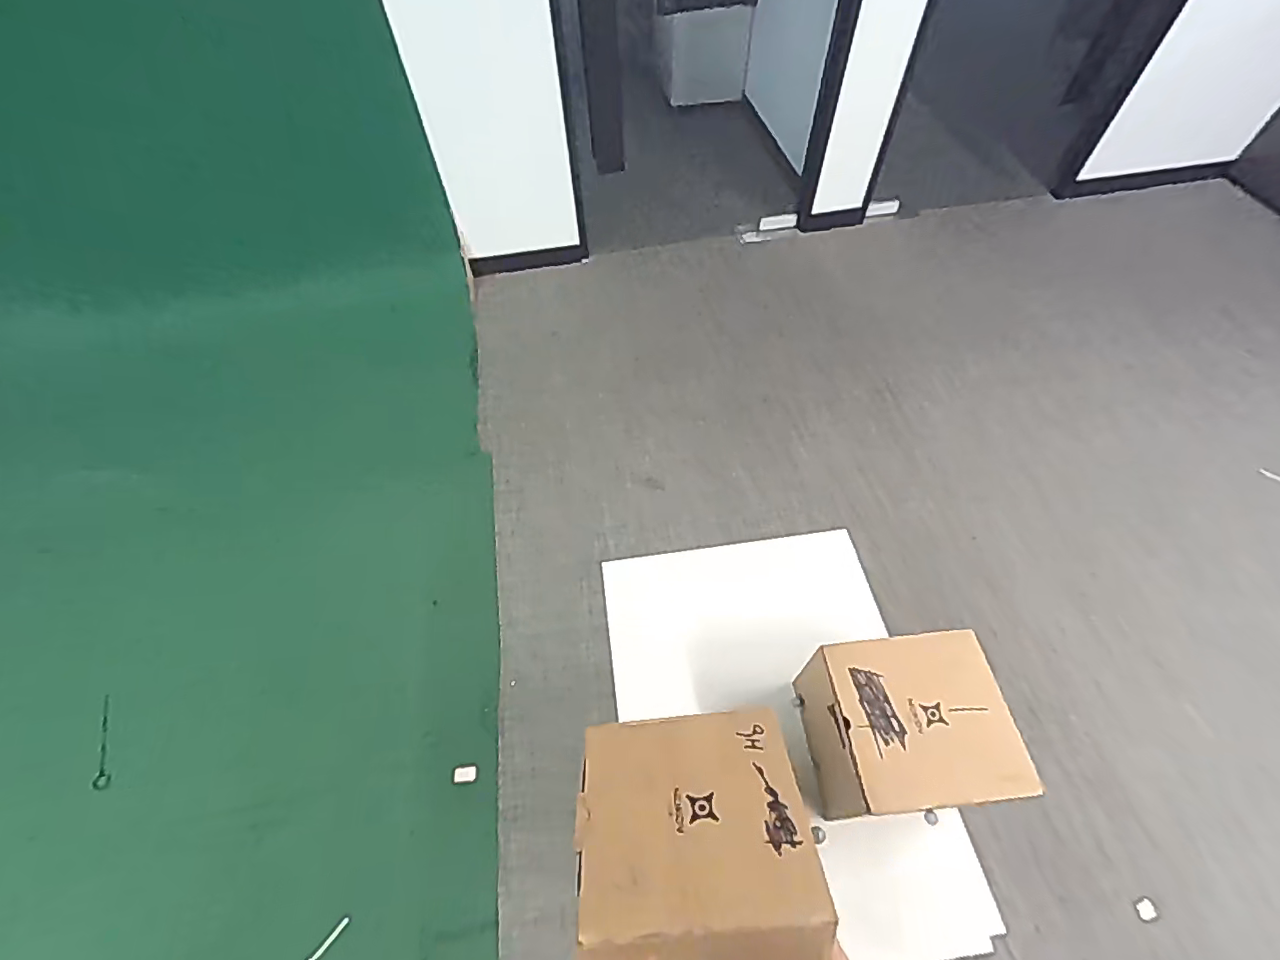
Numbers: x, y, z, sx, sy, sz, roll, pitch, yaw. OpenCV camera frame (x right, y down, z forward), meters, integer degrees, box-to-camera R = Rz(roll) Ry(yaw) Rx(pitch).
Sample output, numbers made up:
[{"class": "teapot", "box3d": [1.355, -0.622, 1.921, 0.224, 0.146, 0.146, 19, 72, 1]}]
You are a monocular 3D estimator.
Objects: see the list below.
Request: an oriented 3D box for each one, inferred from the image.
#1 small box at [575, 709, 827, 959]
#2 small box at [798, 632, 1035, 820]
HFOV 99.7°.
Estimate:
[{"class": "small box", "box3d": [0.046, 0.331, 0.471, 0.179, 0.176, 0.168, -5, 30, 0]}, {"class": "small box", "box3d": [0.296, 0.292, 0.634, 0.179, 0.176, 0.168, -5, 56, -2]}]
